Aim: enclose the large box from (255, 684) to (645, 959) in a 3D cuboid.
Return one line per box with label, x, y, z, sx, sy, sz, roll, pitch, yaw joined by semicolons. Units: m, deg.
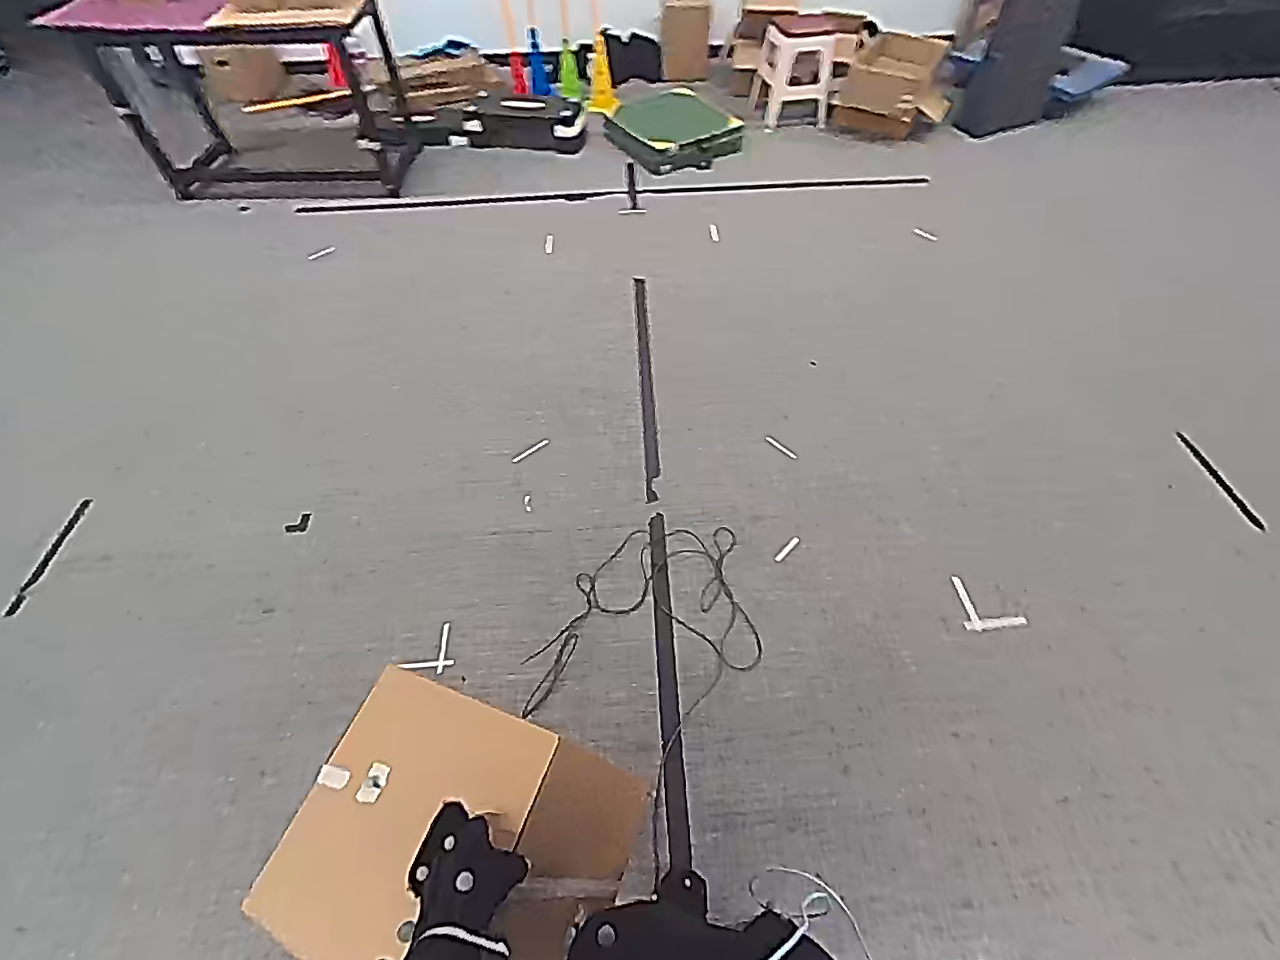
large box;-0.235;0.544;0.812;0.320;0.408;0.320;9;59;26
